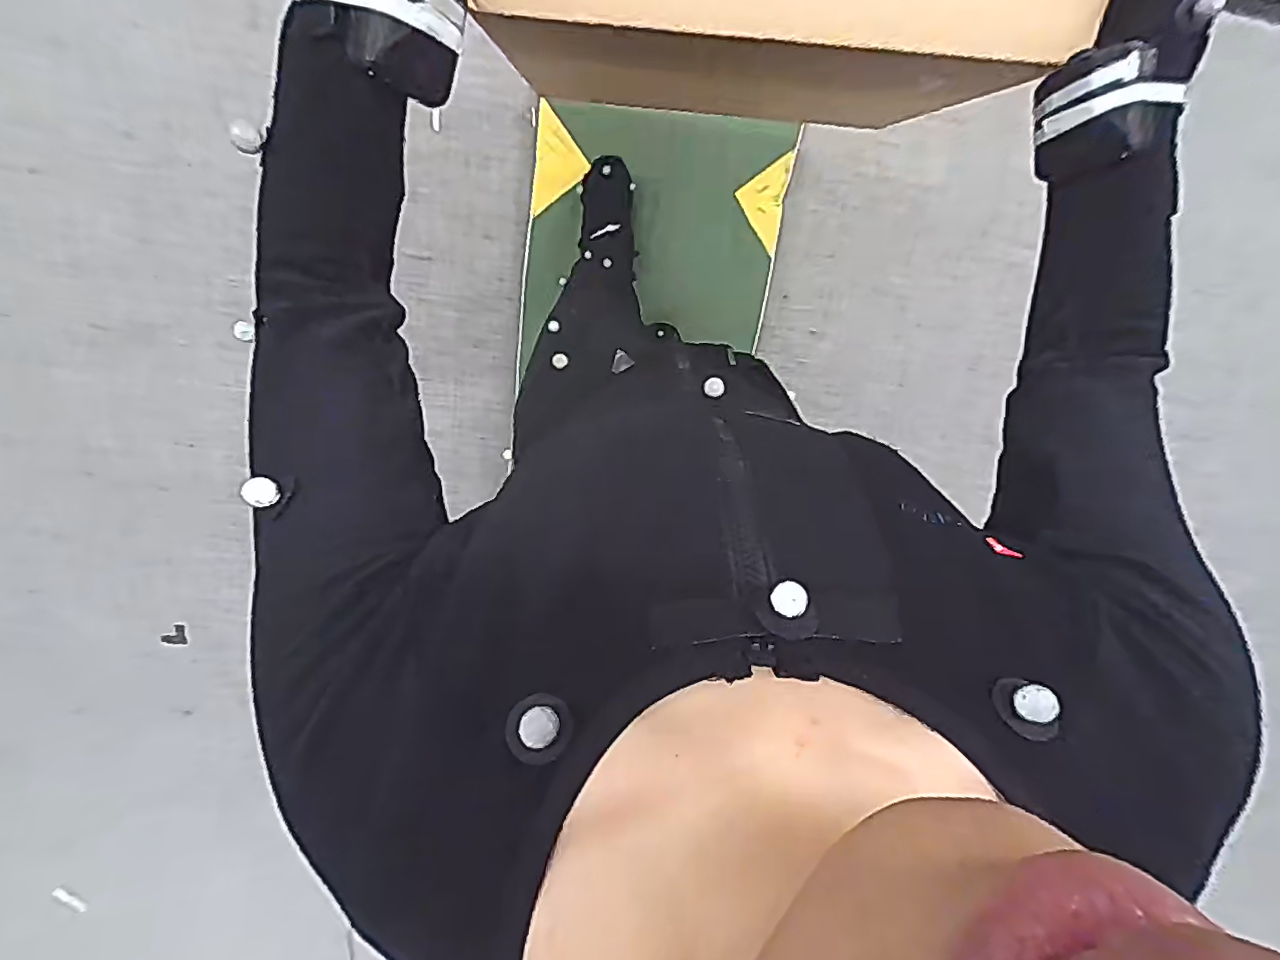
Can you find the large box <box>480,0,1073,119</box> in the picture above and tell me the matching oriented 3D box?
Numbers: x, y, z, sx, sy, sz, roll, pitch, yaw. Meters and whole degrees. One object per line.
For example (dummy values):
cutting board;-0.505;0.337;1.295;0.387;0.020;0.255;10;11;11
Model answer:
large box;0.091;-0.503;0.430;0.408;0.320;0.320;2;117;-3
